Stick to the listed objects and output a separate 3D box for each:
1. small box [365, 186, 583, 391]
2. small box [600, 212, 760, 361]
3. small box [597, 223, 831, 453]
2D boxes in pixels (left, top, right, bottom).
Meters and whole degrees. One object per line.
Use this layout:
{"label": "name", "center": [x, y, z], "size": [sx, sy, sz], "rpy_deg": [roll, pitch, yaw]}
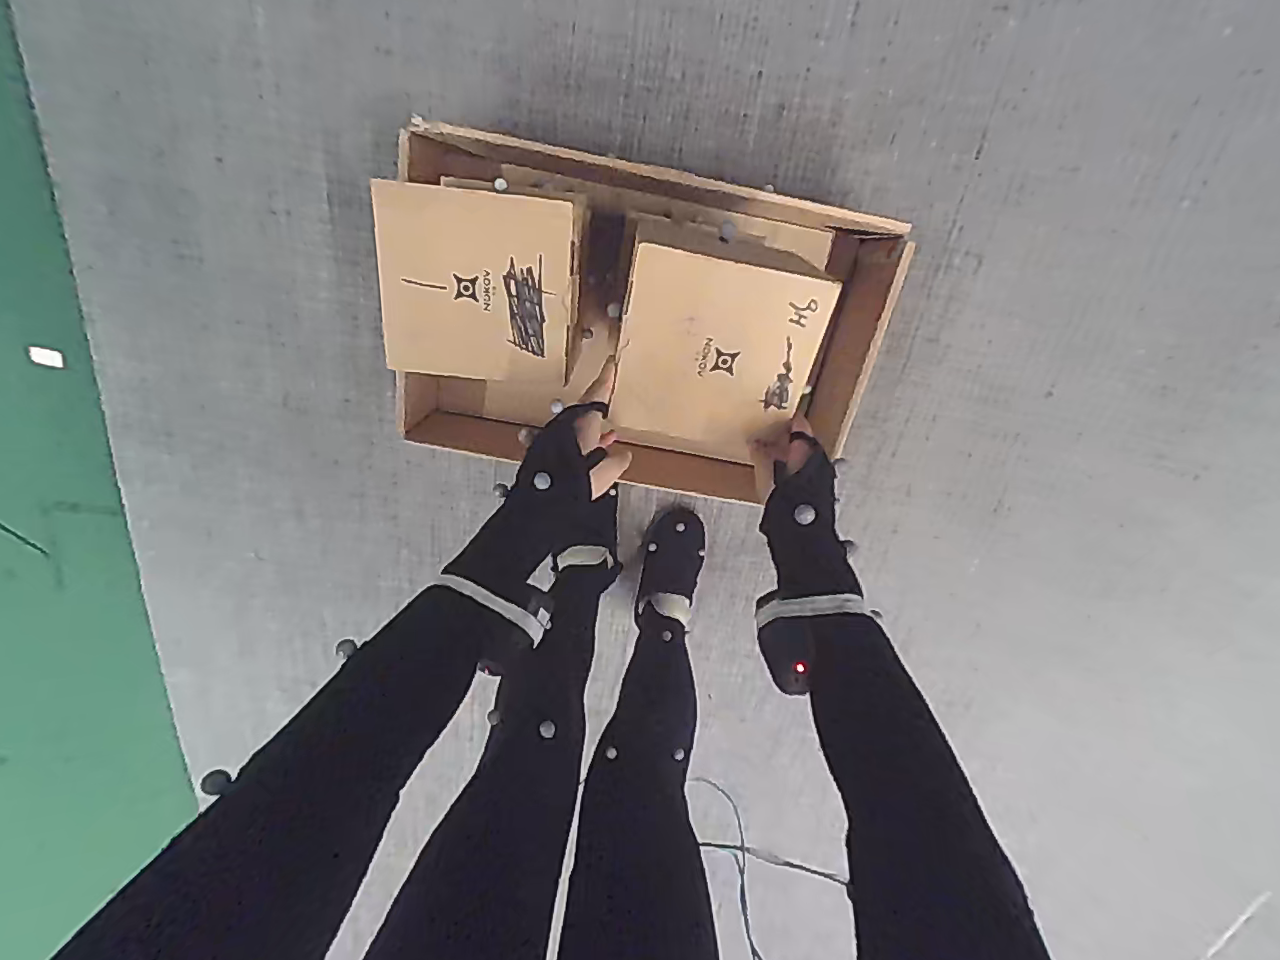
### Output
{"label": "small box", "center": [-0.156, -0.201, 0.567], "size": [0.179, 0.176, 0.168], "rpy_deg": [6, 114, -2]}
{"label": "small box", "center": [0.047, -0.244, 0.724], "size": [0.168, 0.176, 0.179], "rpy_deg": [10, 113, -2]}
{"label": "small box", "center": [0.061, -0.151, 0.546], "size": [0.179, 0.176, 0.168], "rpy_deg": [10, 122, -4]}
